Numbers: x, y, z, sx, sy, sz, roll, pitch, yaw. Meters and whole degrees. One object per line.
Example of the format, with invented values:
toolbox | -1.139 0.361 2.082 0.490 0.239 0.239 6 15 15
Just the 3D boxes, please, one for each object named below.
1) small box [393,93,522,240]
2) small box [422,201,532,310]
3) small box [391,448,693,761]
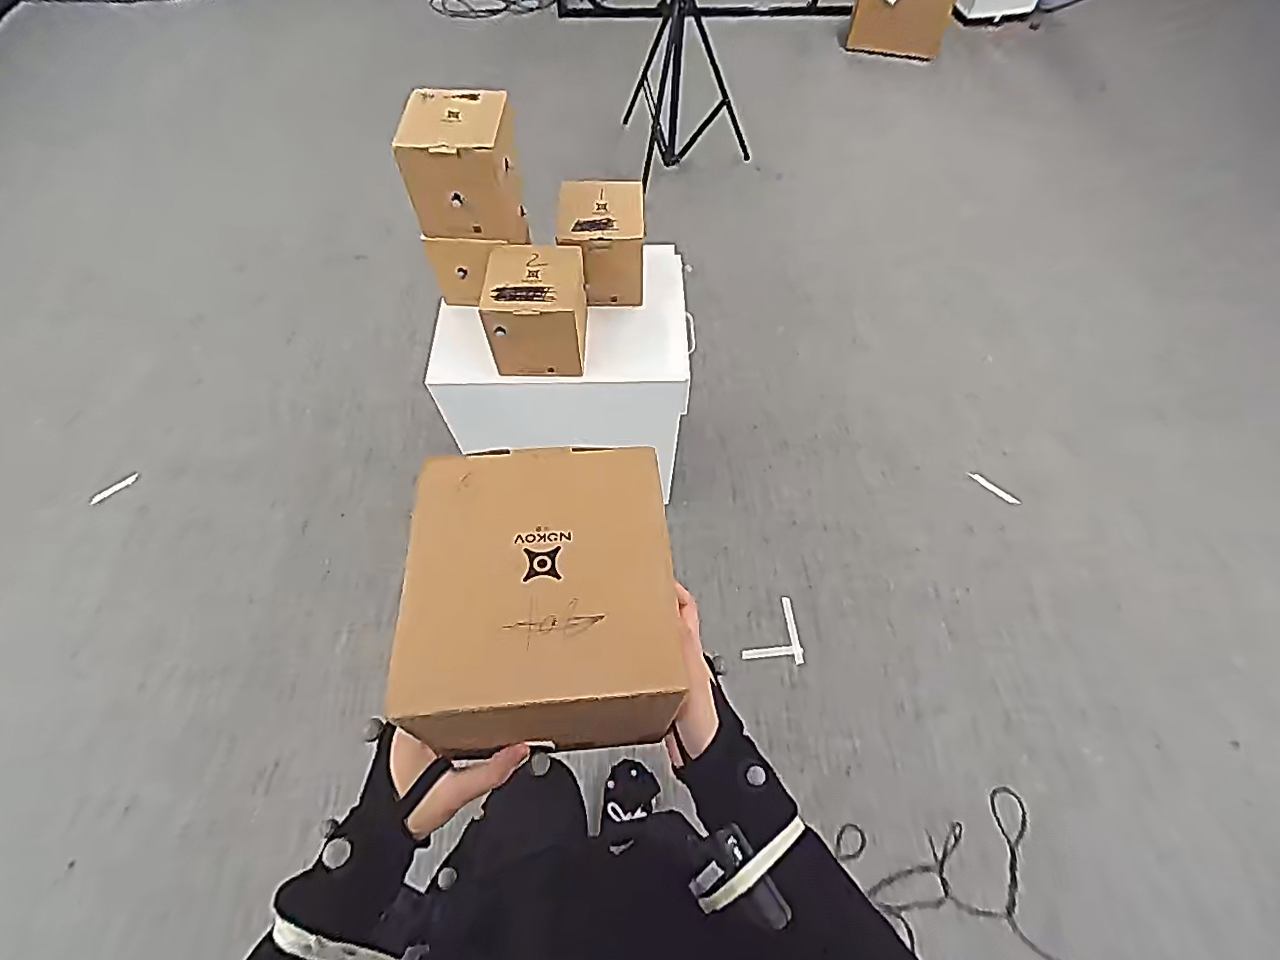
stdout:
small box | -0.313 -0.556 0.971 0.168 0.176 0.179 1 62 -1
small box | -0.323 -0.471 1.112 0.168 0.176 0.179 2 62 0
small box | -0.064 0.095 0.405 0.168 0.176 0.179 -2 56 -6
